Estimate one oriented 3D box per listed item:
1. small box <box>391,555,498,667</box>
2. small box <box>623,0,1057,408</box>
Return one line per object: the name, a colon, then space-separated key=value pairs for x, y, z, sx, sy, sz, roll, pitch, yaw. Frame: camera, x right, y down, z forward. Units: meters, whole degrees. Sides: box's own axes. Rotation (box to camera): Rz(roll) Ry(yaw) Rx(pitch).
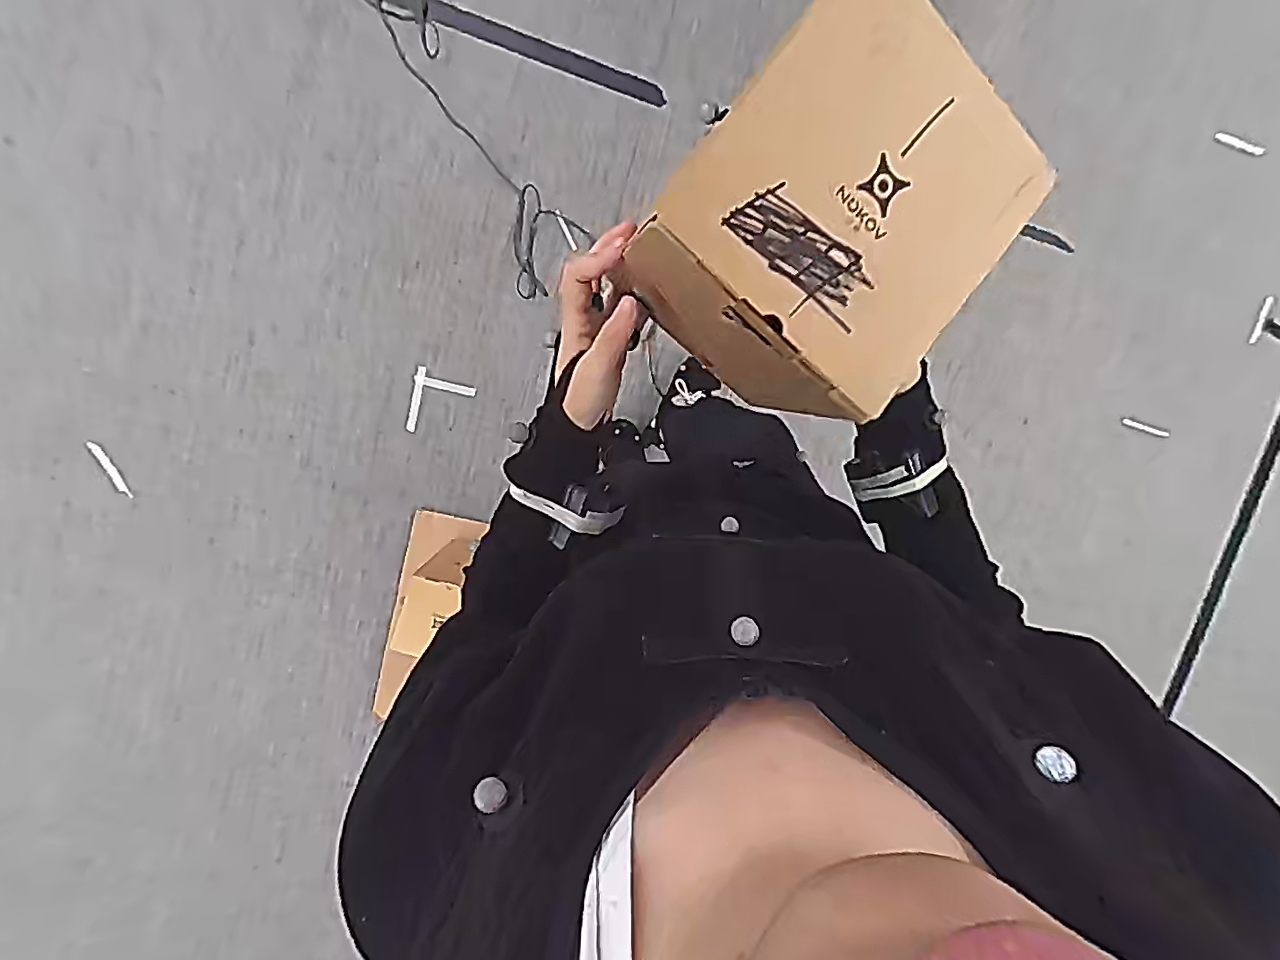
small box: x=-0.436 y=0.293 z=1.235 sx=0.168 sy=0.176 sz=0.179 roll=18 pitch=94 yaw=-7
small box: x=0.104 y=-0.167 z=0.359 sx=0.168 sy=0.176 sz=0.179 roll=36 pitch=90 yaw=-17
